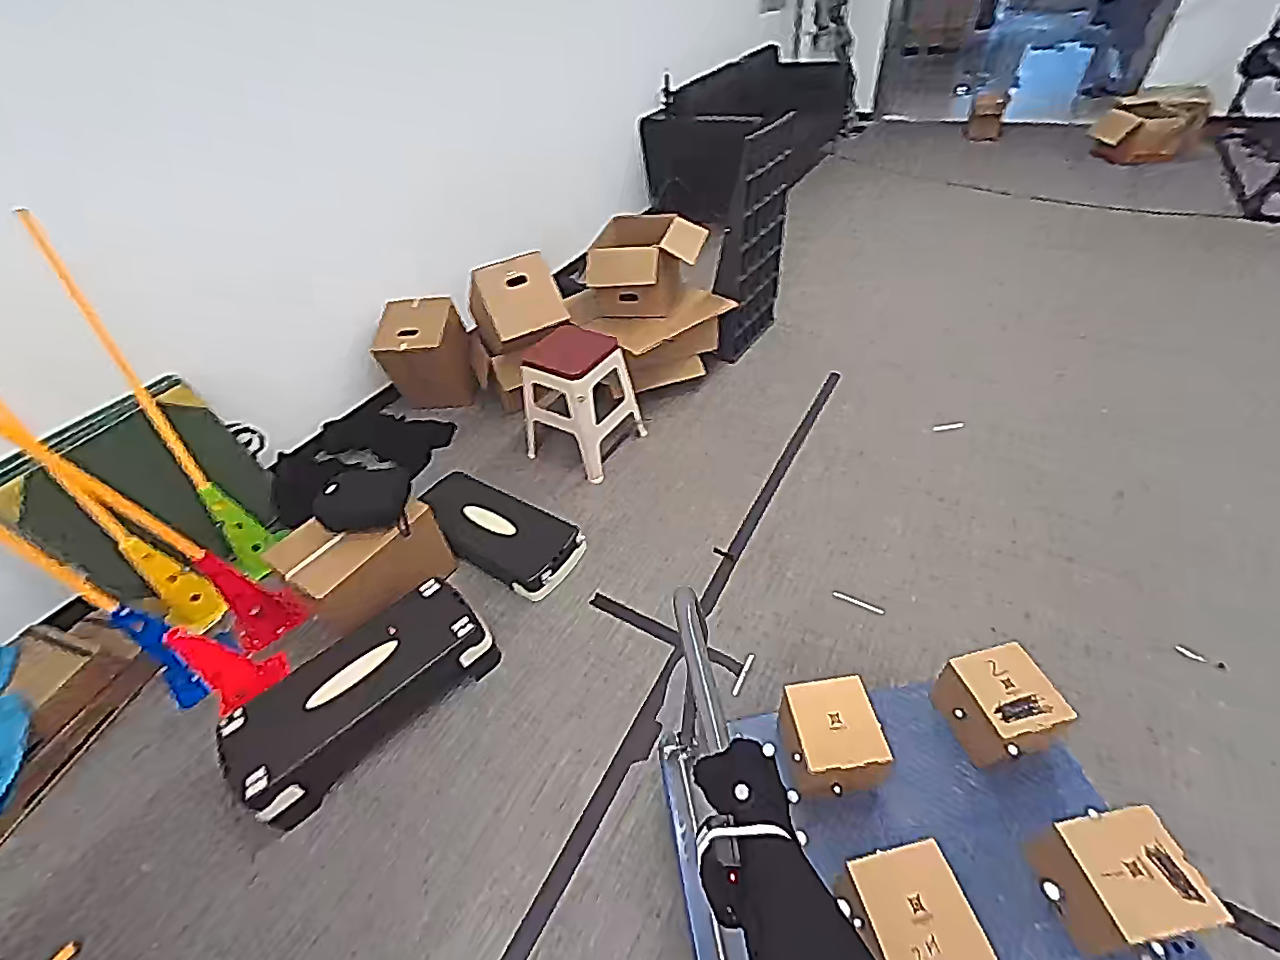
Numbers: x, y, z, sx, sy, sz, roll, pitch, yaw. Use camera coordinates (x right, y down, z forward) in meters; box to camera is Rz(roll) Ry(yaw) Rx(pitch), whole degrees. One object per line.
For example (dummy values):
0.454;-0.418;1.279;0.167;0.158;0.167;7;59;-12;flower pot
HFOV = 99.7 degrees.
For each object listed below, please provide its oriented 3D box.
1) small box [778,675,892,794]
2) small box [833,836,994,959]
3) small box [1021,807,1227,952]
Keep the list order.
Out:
0.404;0.545;1.158;0.168;0.176;0.179;-7;45;-2;small box
0.454;0.754;0.935;0.168;0.176;0.179;-11;44;-5;small box
0.824;0.700;0.946;0.179;0.176;0.168;-10;44;-2;small box
